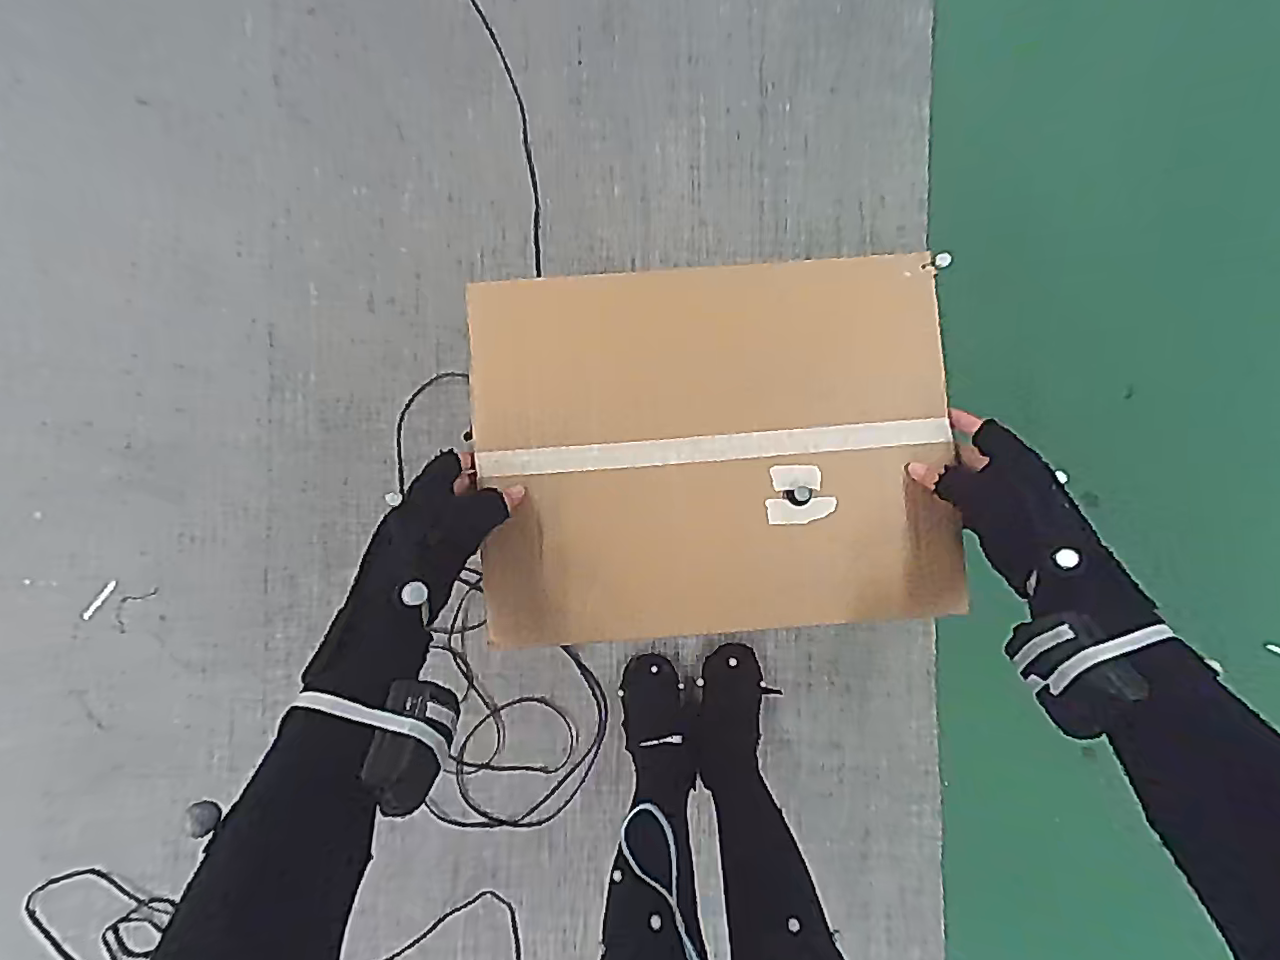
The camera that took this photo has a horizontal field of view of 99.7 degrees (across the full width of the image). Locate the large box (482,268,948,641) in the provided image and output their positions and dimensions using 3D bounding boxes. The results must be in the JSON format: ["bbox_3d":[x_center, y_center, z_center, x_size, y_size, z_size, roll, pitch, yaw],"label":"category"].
[{"bbox_3d":[0.062,-0.018,0.634,0.408,0.320,0.320,-4,87,-1],"label":"large box"}]
